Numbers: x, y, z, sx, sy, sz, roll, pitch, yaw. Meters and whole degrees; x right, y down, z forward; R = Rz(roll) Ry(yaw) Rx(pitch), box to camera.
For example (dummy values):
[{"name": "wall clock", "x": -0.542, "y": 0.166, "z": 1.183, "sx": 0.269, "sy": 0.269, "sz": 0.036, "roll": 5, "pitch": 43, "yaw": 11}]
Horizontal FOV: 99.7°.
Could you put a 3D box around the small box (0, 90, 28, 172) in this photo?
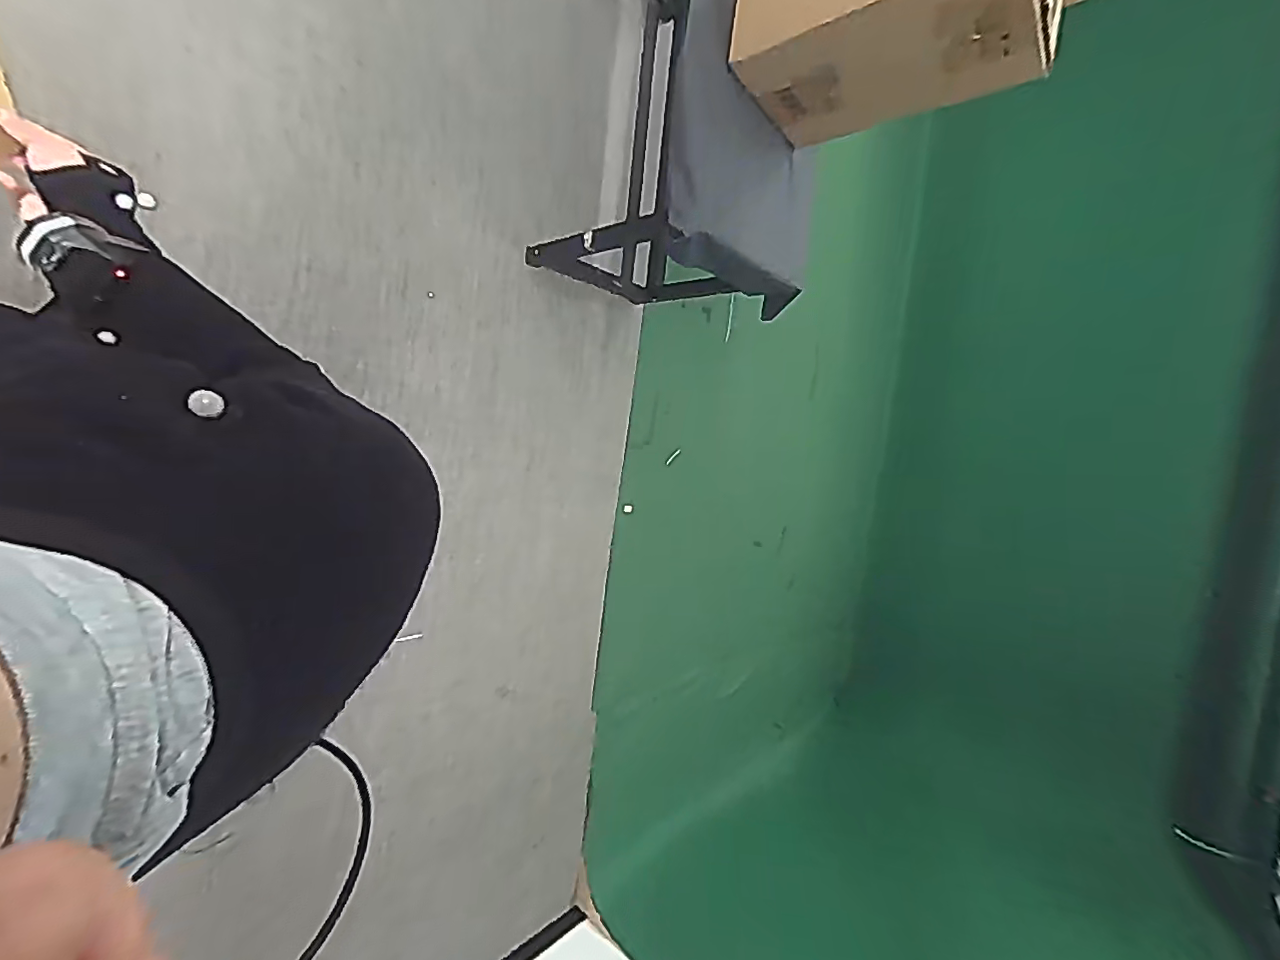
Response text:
[{"name": "small box", "x": -0.652, "y": -0.320, "z": 0.408, "sx": 0.176, "sy": 0.179, "sz": 0.168, "roll": 59, "pitch": 5, "yaw": 10}]
